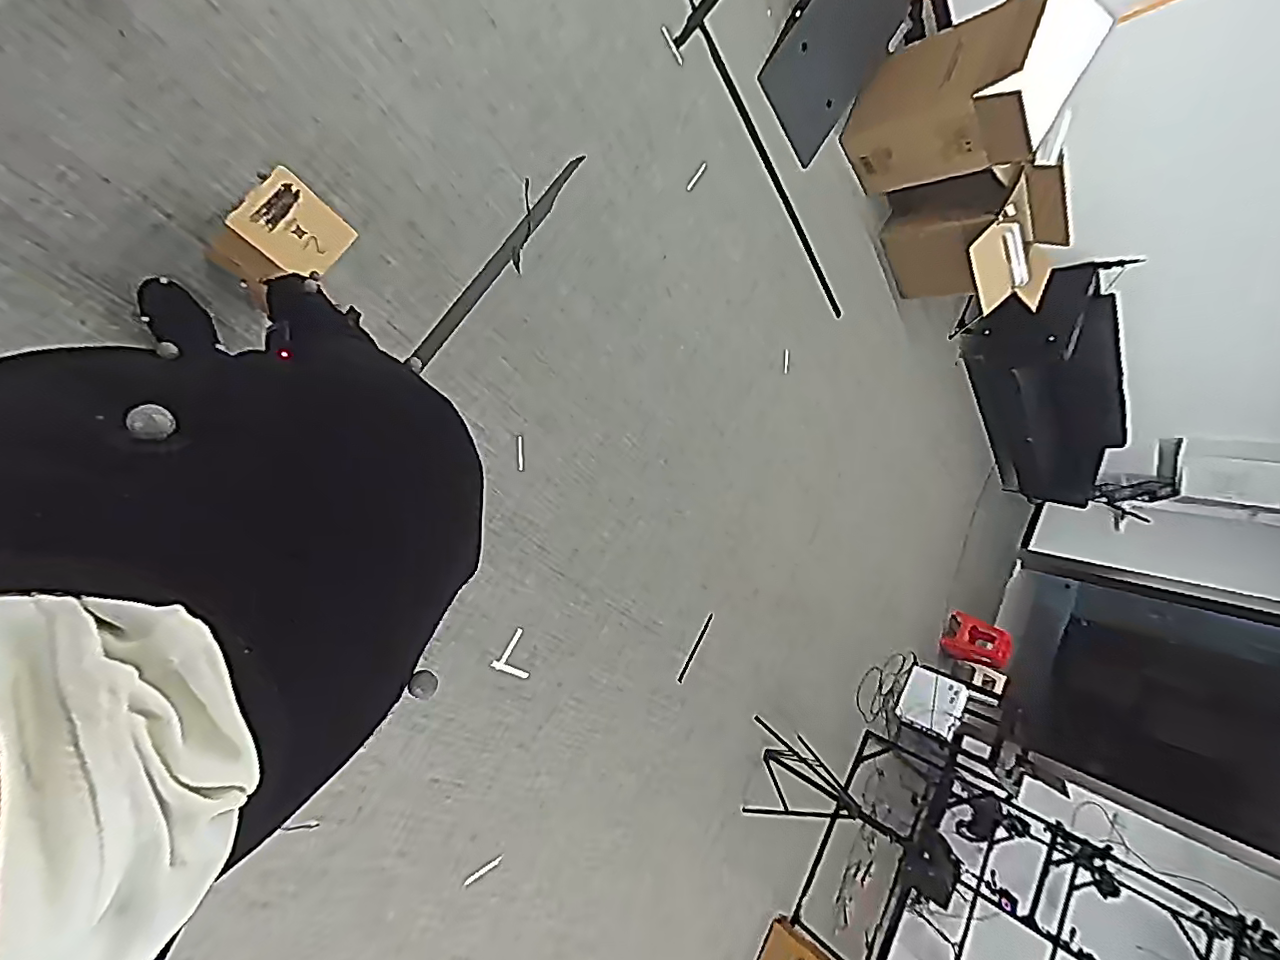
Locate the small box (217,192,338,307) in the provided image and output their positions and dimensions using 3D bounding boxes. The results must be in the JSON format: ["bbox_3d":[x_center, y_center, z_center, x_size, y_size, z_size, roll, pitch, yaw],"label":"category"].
[{"bbox_3d":[-0.853,-0.530,1.265,0.168,0.176,0.179,41,72,-39],"label":"small box"}]
